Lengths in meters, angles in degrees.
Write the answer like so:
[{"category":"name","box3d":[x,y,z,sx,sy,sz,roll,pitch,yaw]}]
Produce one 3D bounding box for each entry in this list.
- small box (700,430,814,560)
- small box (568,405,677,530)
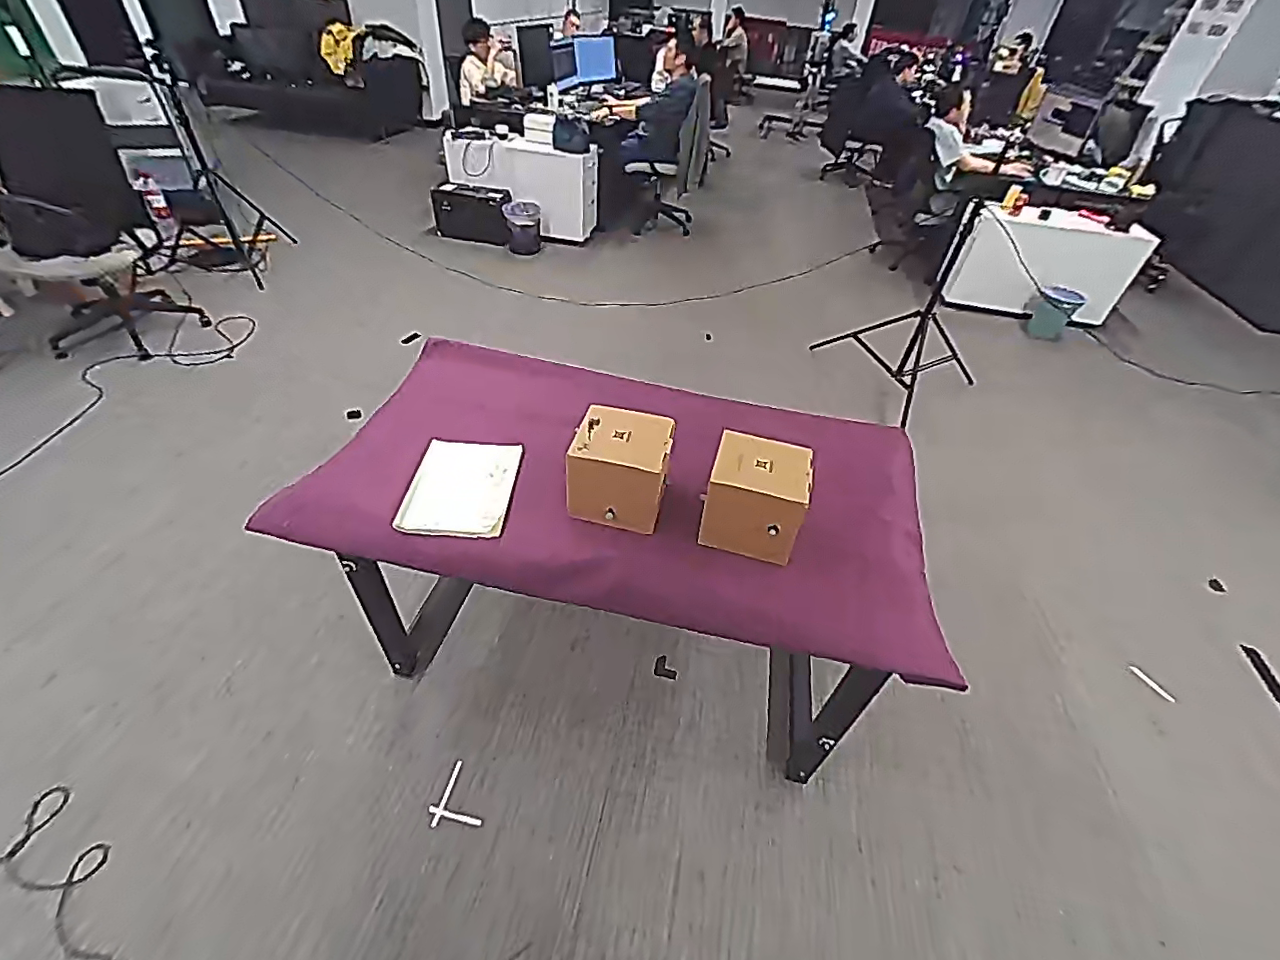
[{"category":"small box","box3d":[0.223,0.032,1.043,0.179,0.176,0.168,12,41,10]},{"category":"small box","box3d":[-0.036,-0.022,1.073,0.179,0.176,0.168,12,42,6]}]
